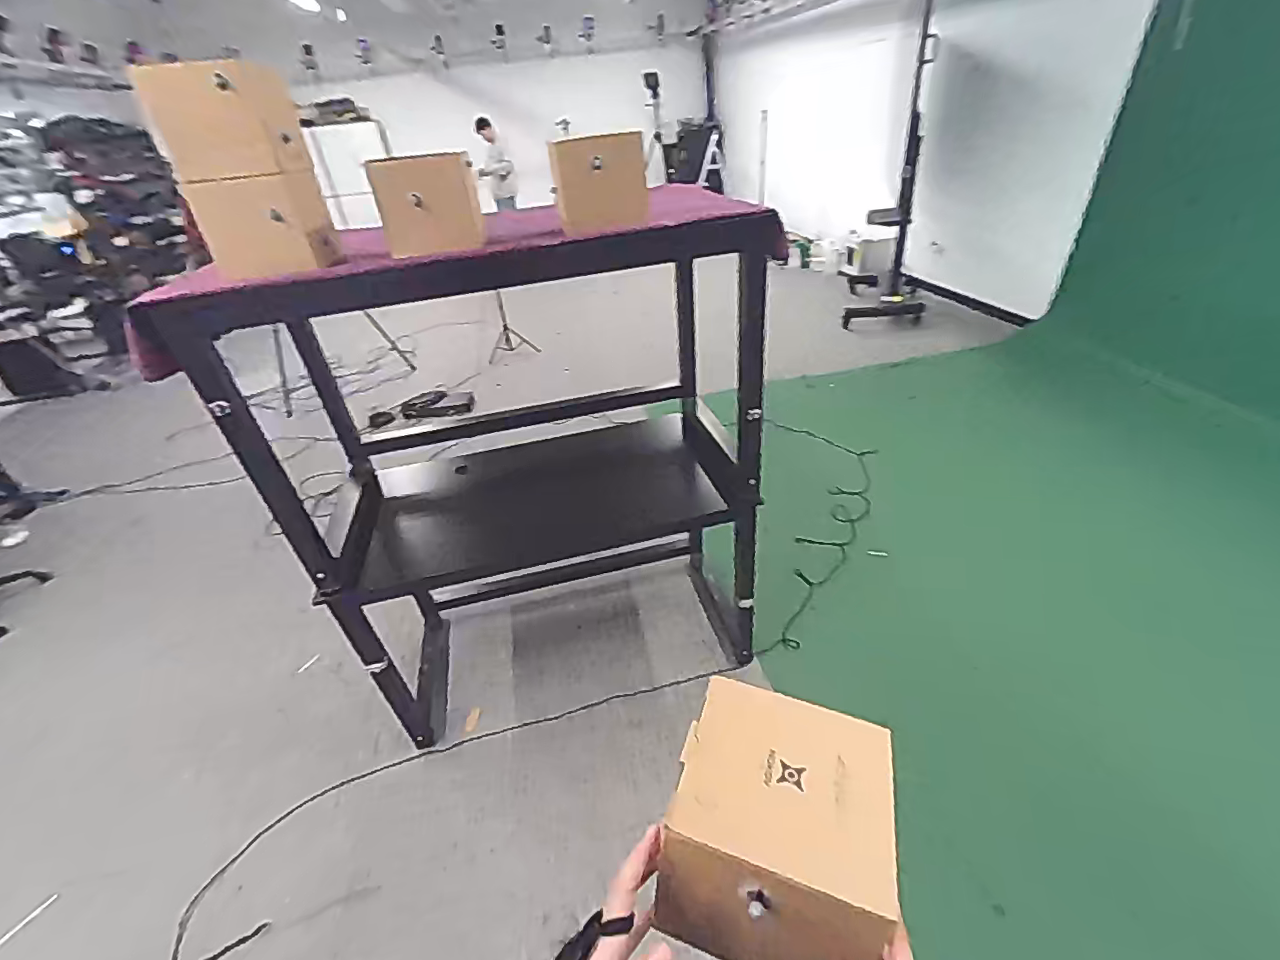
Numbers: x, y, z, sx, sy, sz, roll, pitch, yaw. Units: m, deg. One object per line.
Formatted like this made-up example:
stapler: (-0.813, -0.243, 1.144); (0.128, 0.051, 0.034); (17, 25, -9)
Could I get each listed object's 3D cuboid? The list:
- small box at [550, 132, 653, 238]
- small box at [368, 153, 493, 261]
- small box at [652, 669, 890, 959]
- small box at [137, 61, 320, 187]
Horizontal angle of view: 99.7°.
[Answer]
small box: (-0.079, -0.610, 1.119); (0.179, 0.176, 0.168); (-12, 35, -7)
small box: (-0.409, -0.549, 1.089); (0.179, 0.176, 0.168); (-10, 33, -4)
small box: (0.116, 0.313, 0.497); (0.179, 0.176, 0.168); (12, 30, 17)
small box: (-0.723, -0.634, 0.976); (0.179, 0.176, 0.168); (-8, 33, -5)
